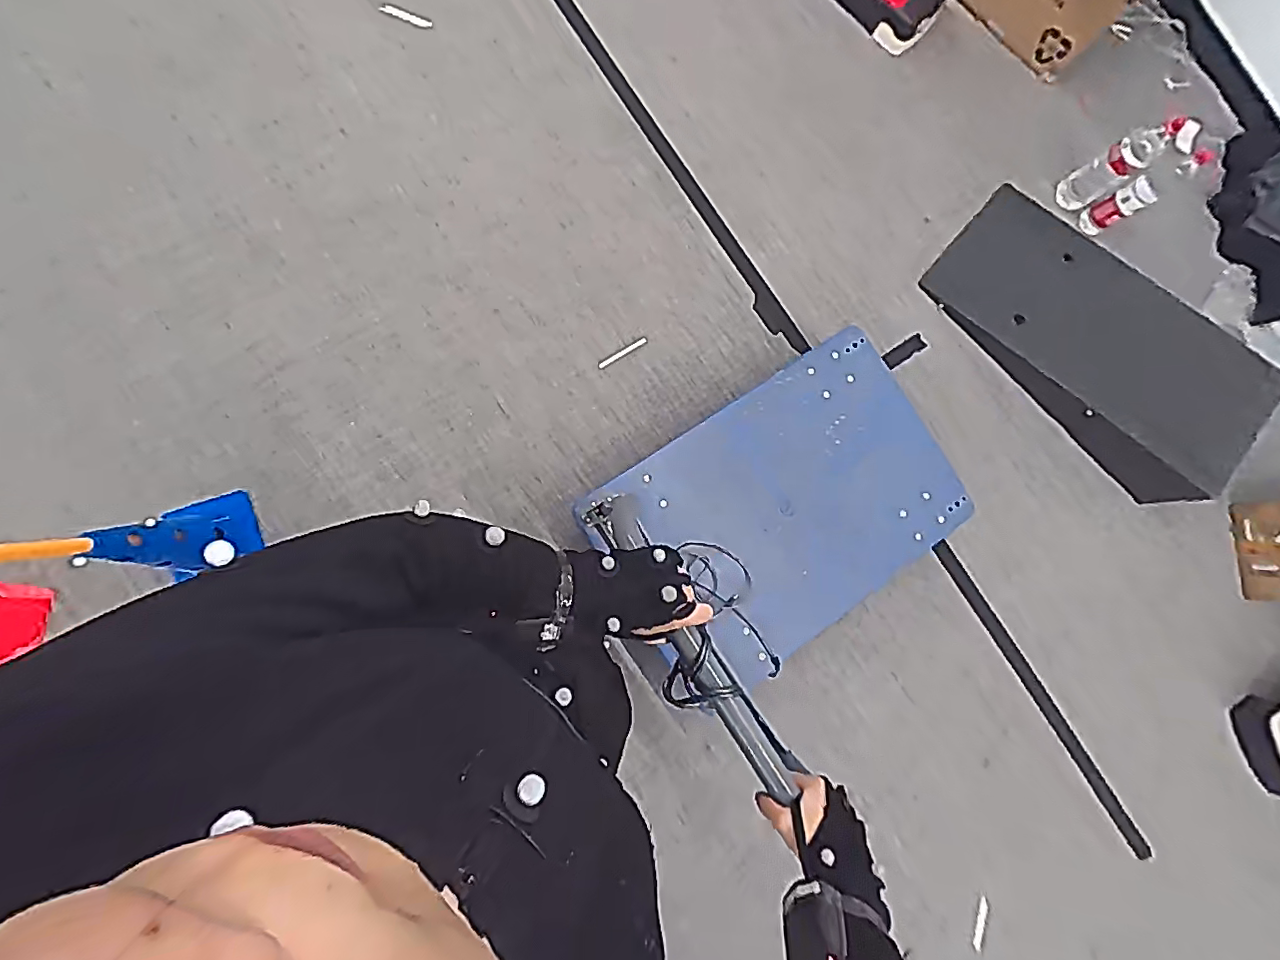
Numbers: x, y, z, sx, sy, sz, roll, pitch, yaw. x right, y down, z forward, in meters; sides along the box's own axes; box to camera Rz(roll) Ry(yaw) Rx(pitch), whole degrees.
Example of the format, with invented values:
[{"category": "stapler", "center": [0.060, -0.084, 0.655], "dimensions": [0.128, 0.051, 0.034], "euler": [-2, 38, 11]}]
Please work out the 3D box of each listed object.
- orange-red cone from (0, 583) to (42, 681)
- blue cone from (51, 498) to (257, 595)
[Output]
[{"category": "orange-red cone", "center": [-1.361, 0.296, 0.969], "dimensions": [0.199, 0.360, 0.198], "euler": [13, 83, -9]}, {"category": "blue cone", "center": [-0.962, 0.130, 1.067], "dimensions": [0.192, 0.380, 0.193], "euler": [-18, 87, -10]}]
